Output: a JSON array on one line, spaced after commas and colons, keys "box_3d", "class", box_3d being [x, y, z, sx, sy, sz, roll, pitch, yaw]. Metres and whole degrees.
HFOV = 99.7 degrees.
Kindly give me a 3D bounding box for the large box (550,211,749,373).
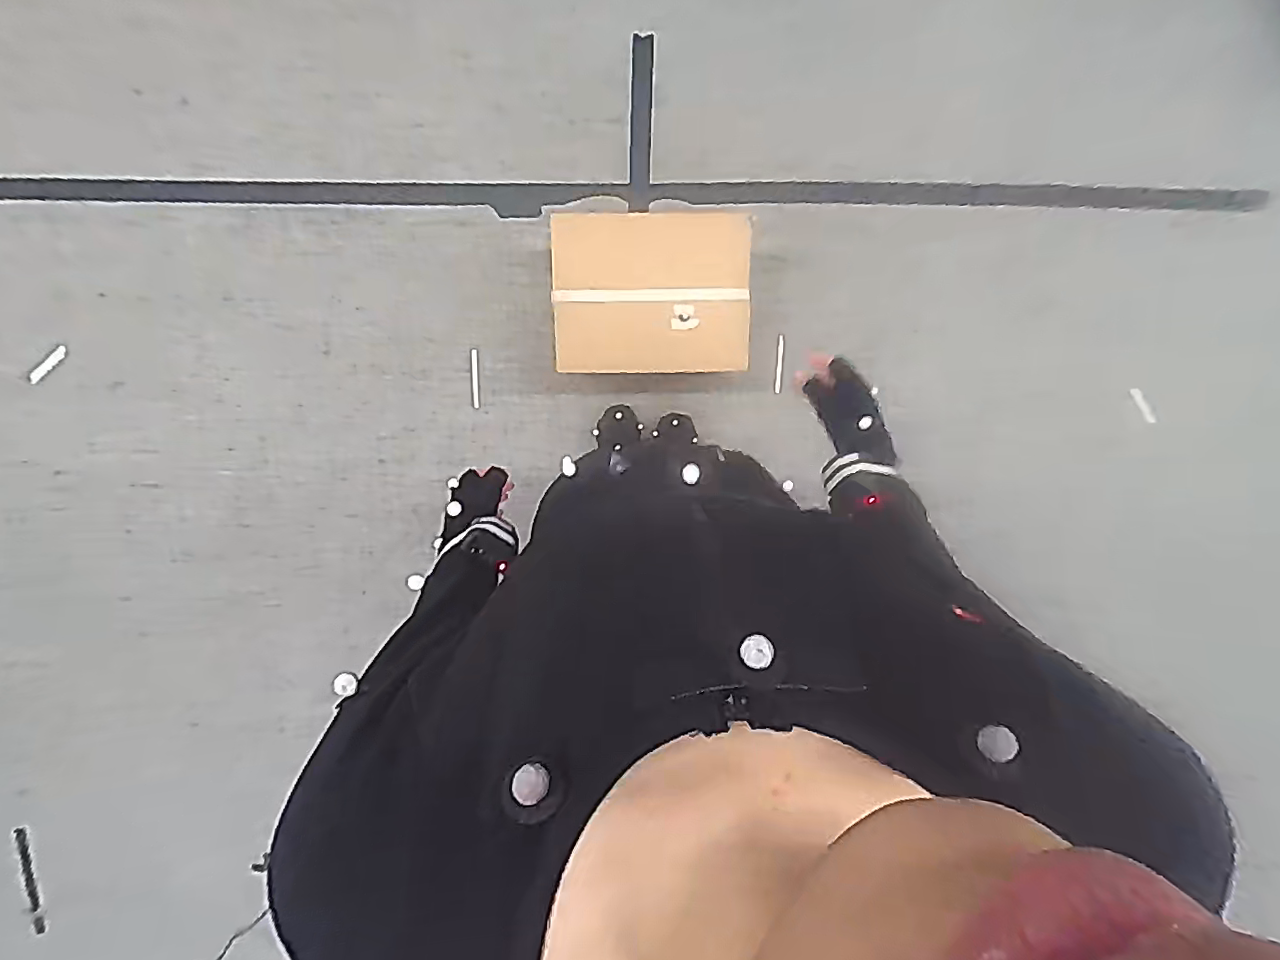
[{"box_3d": [0.015, -0.412, 1.252, 0.408, 0.320, 0.320, -1, 102, -3], "class": "large box"}]
